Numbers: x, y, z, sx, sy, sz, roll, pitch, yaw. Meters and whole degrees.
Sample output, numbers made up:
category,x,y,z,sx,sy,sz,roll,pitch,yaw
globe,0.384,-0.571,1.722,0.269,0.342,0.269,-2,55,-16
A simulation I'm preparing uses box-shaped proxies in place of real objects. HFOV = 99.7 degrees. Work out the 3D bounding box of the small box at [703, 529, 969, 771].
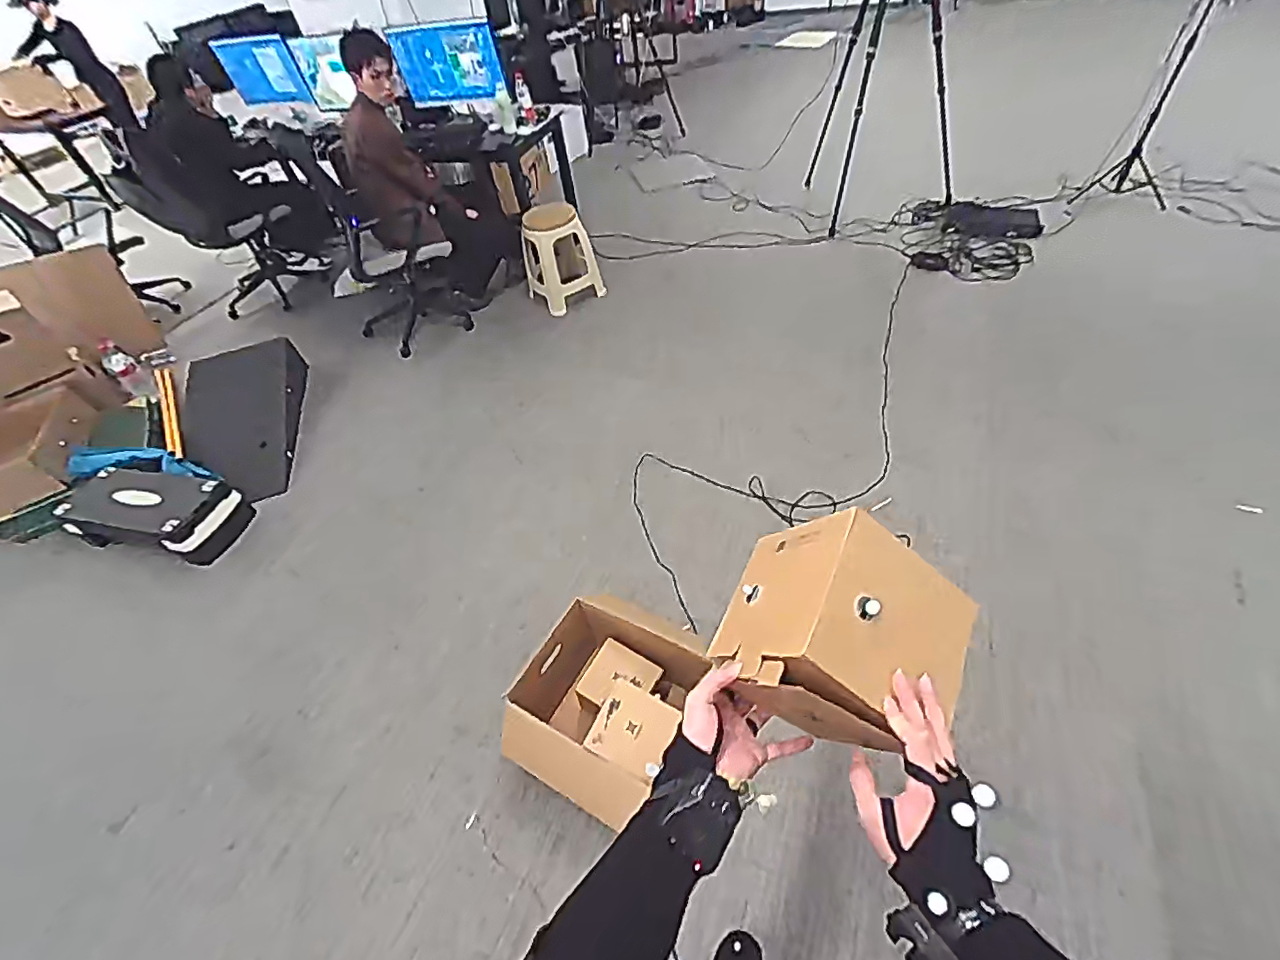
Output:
category,x,y,z,sx,sy,sz,roll,pitch,yaw
small box,0.203,0.167,0.566,0.179,0.168,0.176,36,62,-9
